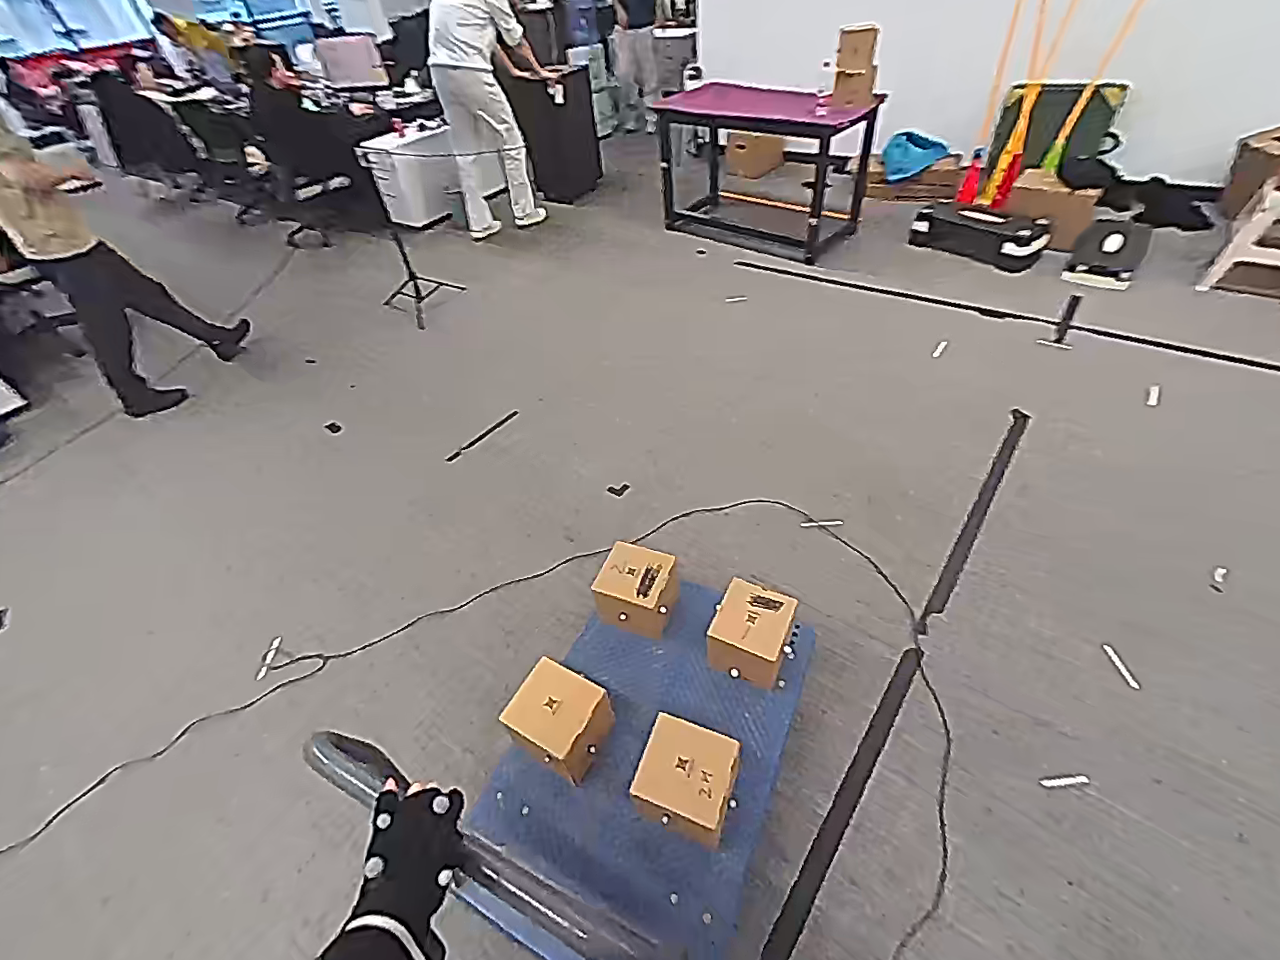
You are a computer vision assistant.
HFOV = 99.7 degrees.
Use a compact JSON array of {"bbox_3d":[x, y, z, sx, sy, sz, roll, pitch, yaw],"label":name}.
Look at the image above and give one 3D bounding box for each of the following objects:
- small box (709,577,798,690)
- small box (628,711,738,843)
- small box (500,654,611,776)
[{"bbox_3d":[0.274,0.378,1.327,0.168,0.176,0.179,18,51,23],"label":"small box"},{"bbox_3d":[0.094,0.614,1.113,0.179,0.176,0.168,14,49,20],"label":"small box"},{"bbox_3d":[-0.183,0.536,1.227,0.179,0.176,0.168,20,50,23],"label":"small box"}]
